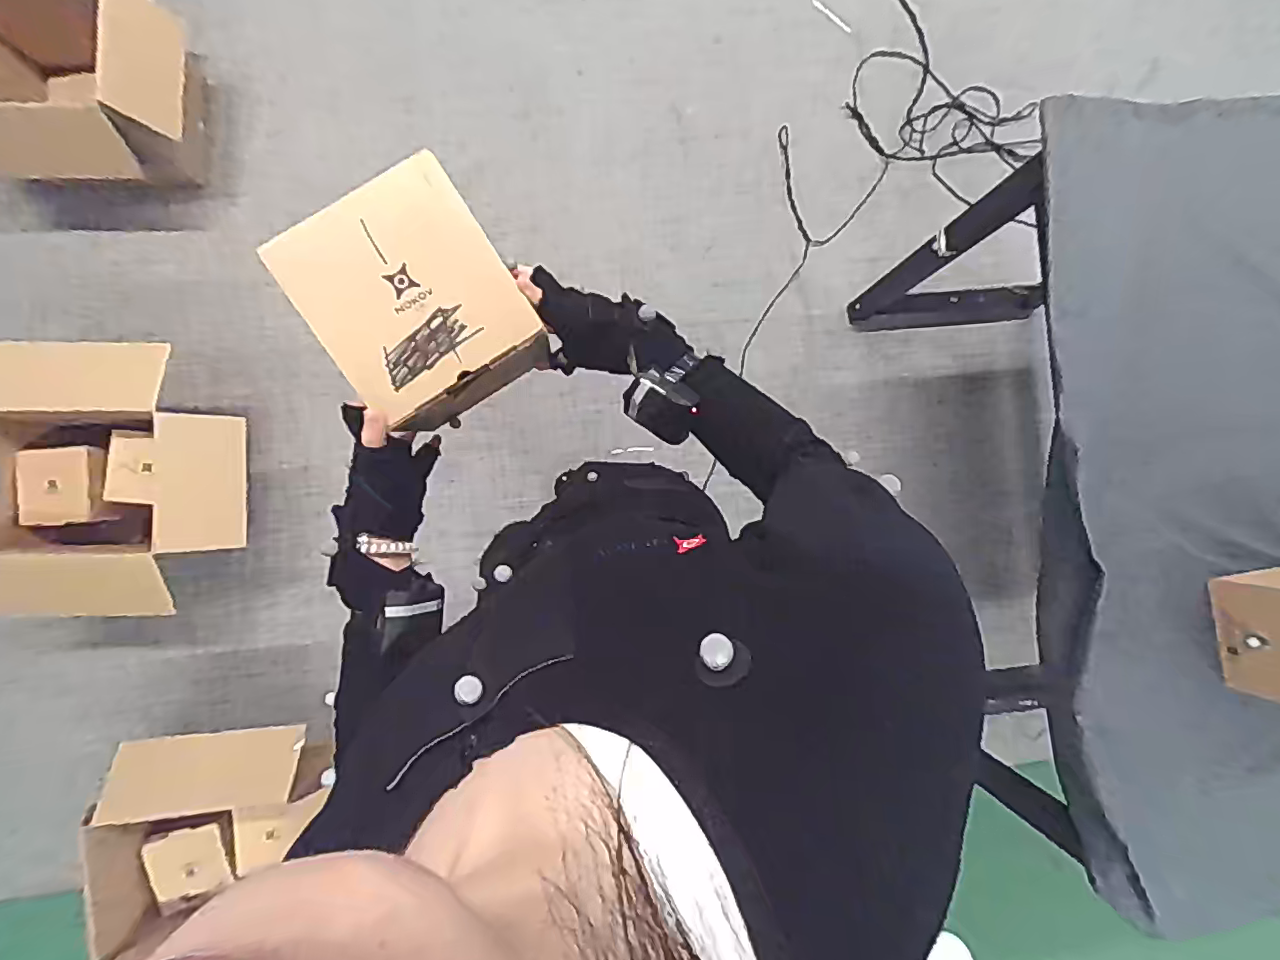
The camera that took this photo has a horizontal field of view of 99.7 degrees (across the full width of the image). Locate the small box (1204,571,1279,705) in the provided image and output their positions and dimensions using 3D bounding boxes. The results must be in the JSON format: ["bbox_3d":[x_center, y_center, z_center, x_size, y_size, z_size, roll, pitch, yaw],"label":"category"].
[{"bbox_3d":[0.959,0.222,0.750,0.179,0.176,0.168,-7,88,-4],"label":"small box"}]

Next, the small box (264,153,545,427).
[{"bbox_3d":[-0.208,-0.169,0.540,0.168,0.176,0.179,-33,97,-4],"label":"small box"}]
